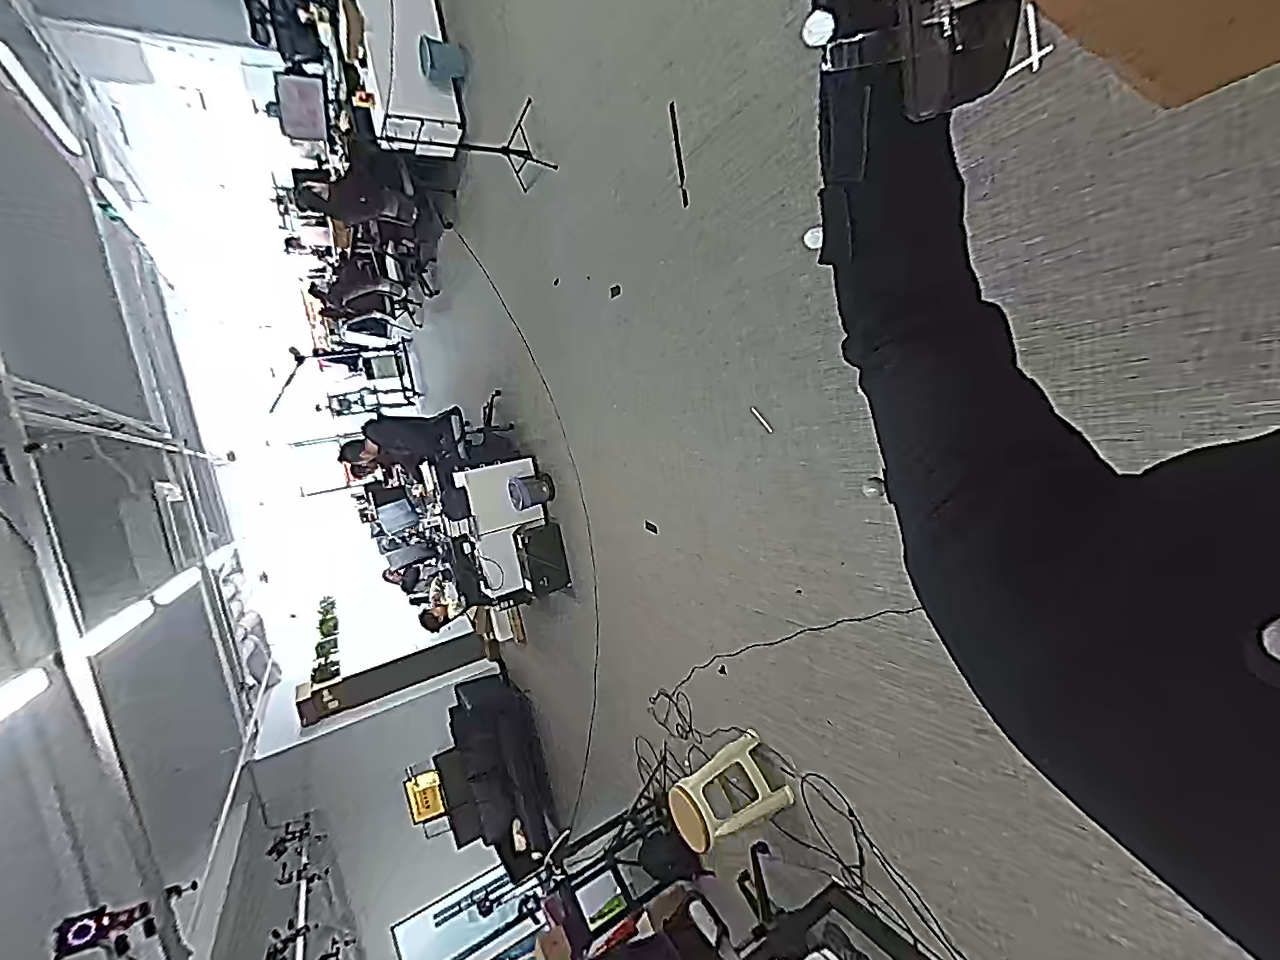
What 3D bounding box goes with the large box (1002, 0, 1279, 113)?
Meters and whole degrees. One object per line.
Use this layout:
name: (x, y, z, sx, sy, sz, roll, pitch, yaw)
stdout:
large box: (0.281, -0.369, 0.093, 0.408, 0.320, 0.320, -5, 94, 57)
